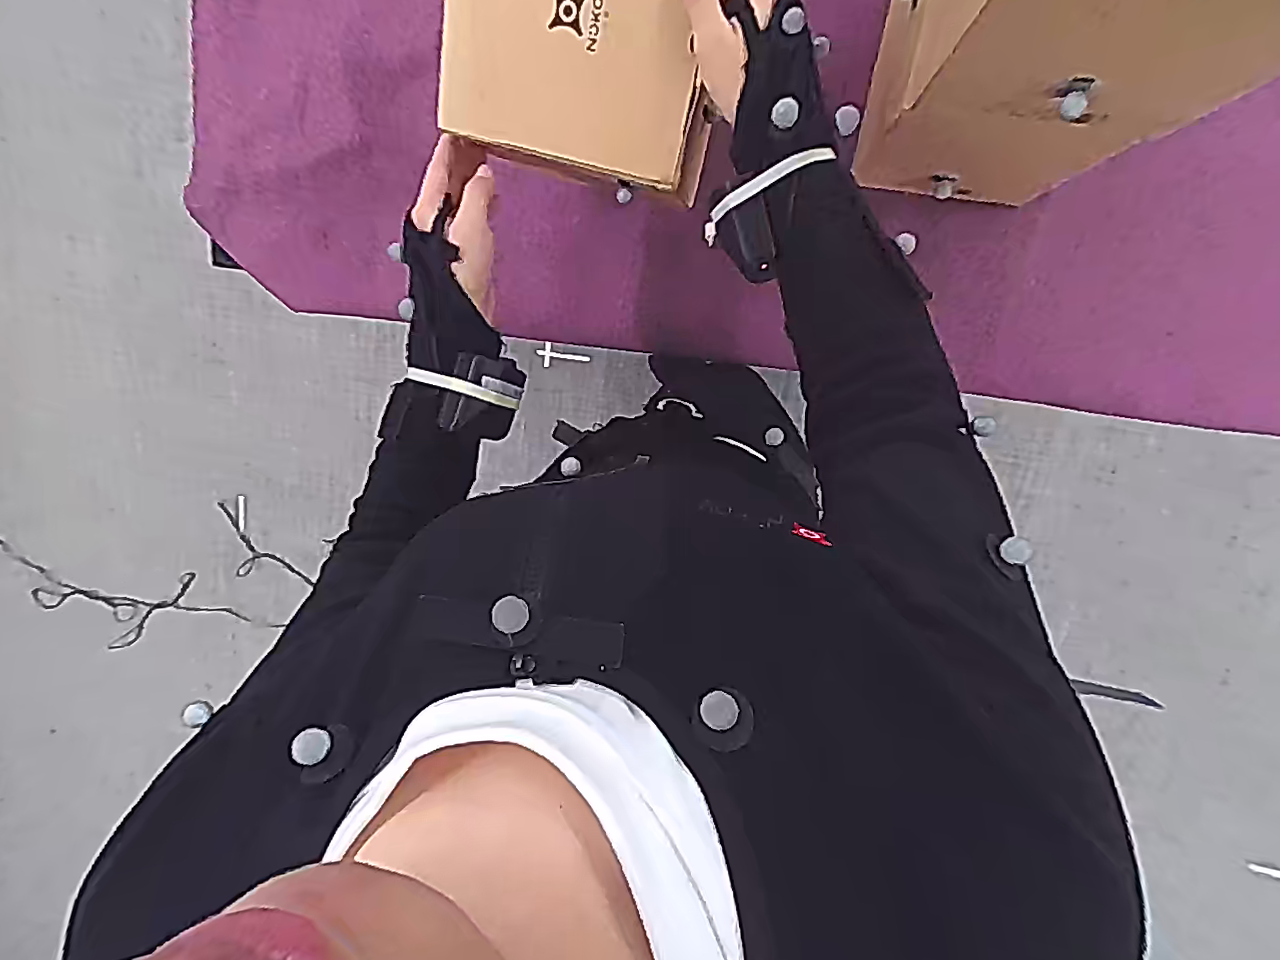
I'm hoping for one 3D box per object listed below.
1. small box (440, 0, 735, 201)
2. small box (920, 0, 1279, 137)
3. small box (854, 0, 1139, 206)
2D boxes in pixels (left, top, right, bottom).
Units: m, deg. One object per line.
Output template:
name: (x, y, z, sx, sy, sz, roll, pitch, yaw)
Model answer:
small box: (-0.030, -0.333, 0.424, 0.179, 0.176, 0.168, 15, 112, 2)
small box: (0.274, -0.317, 0.281, 0.168, 0.176, 0.179, 11, 103, 7)
small box: (0.292, -0.350, 0.442, 0.168, 0.176, 0.179, 11, 103, 6)
